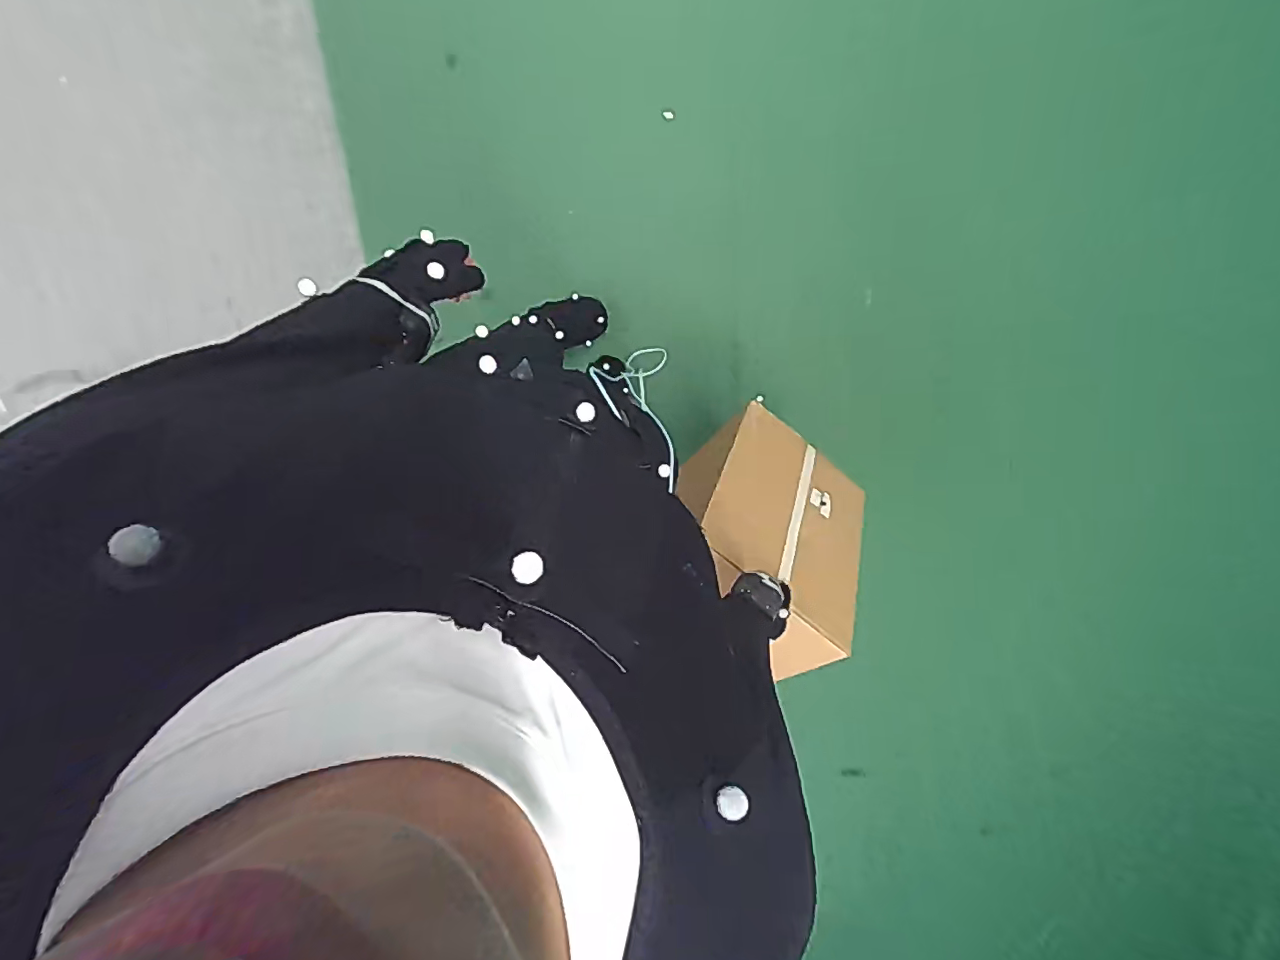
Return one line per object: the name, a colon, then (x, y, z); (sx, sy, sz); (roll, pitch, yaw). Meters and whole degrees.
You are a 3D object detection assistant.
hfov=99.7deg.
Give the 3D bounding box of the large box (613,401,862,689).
large box: (0.202, 0.129, 1.073); (0.320, 0.408, 0.320); (38, 135, -8)
